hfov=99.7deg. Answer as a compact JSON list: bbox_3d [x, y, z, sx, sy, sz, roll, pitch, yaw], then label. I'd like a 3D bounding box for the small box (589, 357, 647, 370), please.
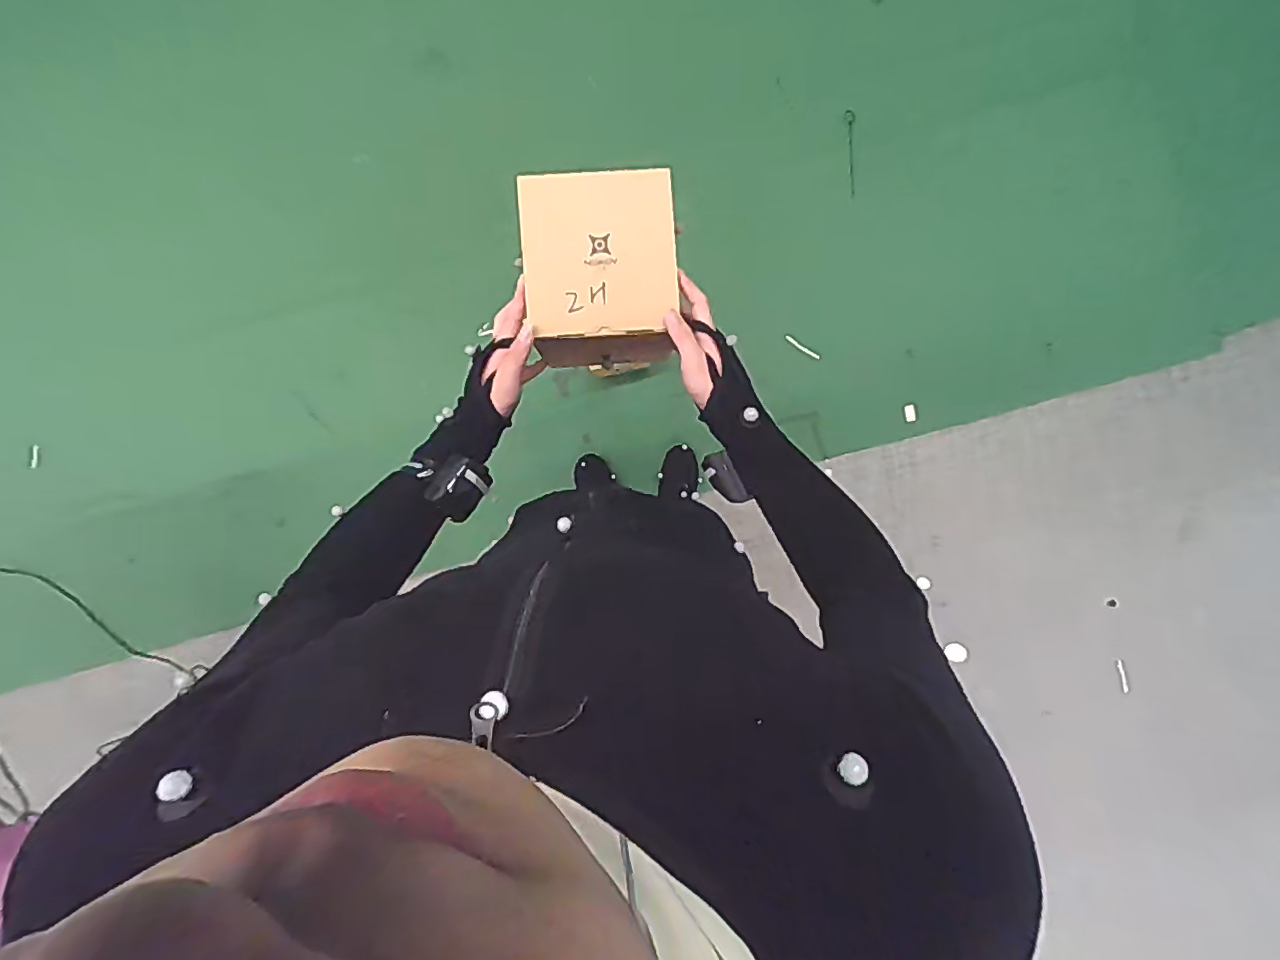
[{"bbox_3d":[-0.072,-0.421,1.523,0.168,0.176,0.179,-13,95,2],"label":"small box"}]

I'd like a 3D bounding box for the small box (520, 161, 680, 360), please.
[{"bbox_3d":[-0.046,-0.249,0.648,0.168,0.176,0.179,-3,93,-2],"label":"small box"}]
